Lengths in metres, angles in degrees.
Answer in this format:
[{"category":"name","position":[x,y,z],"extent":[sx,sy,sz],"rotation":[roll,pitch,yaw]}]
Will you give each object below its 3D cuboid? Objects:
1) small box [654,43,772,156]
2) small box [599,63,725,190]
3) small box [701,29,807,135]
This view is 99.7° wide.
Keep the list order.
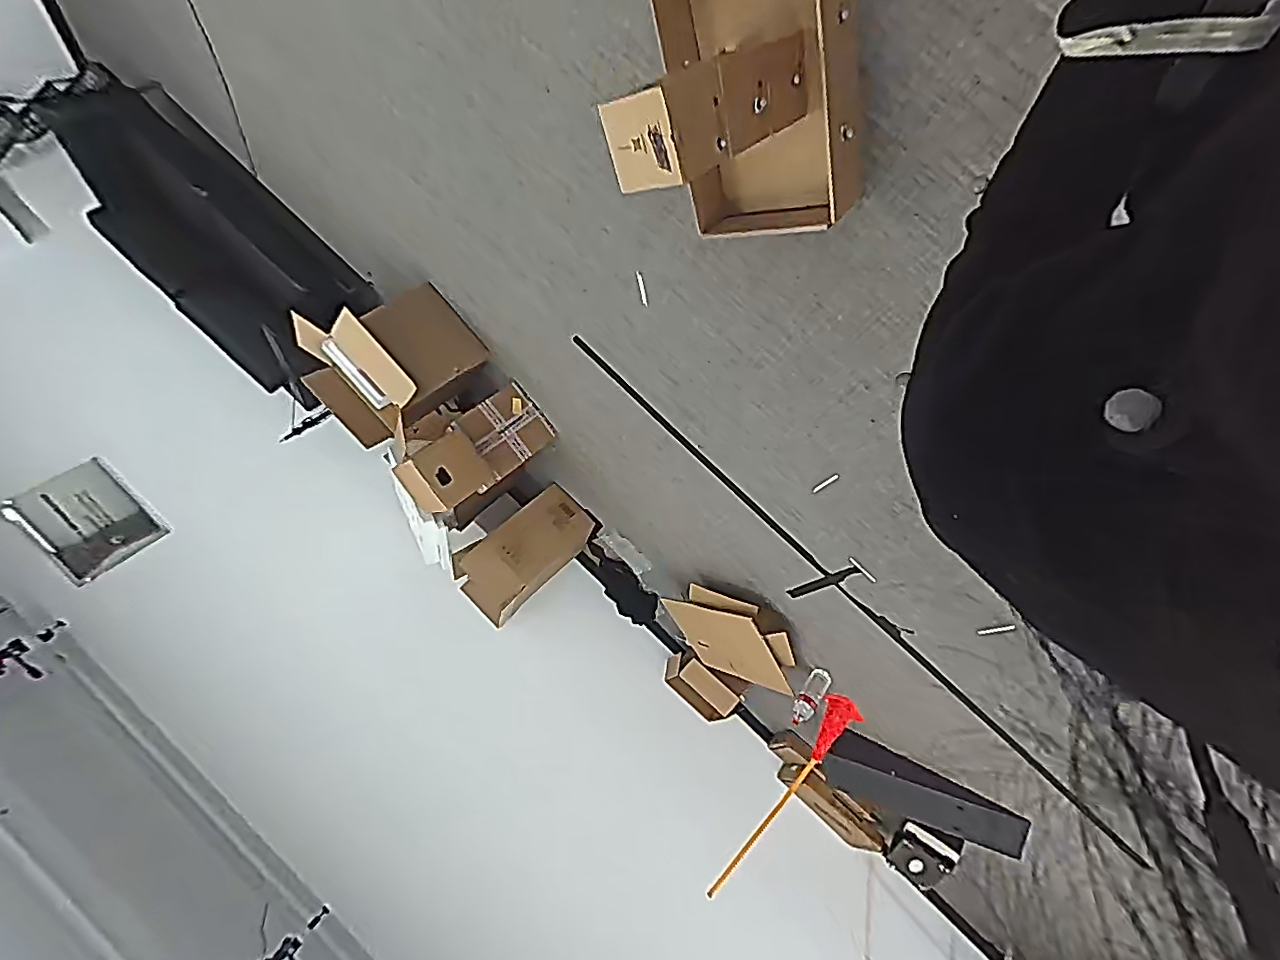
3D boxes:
[{"category":"small box","position":[0.161,-0.808,1.166],"extent":[0.179,0.176,0.168],"rotation":[18,141,39]},{"category":"small box","position":[0.055,-0.708,1.089],"extent":[0.179,0.176,0.168],"rotation":[19,142,41]},{"category":"small box","position":[0.264,-0.905,1.245],"extent":[0.179,0.176,0.168],"rotation":[20,142,38]}]
